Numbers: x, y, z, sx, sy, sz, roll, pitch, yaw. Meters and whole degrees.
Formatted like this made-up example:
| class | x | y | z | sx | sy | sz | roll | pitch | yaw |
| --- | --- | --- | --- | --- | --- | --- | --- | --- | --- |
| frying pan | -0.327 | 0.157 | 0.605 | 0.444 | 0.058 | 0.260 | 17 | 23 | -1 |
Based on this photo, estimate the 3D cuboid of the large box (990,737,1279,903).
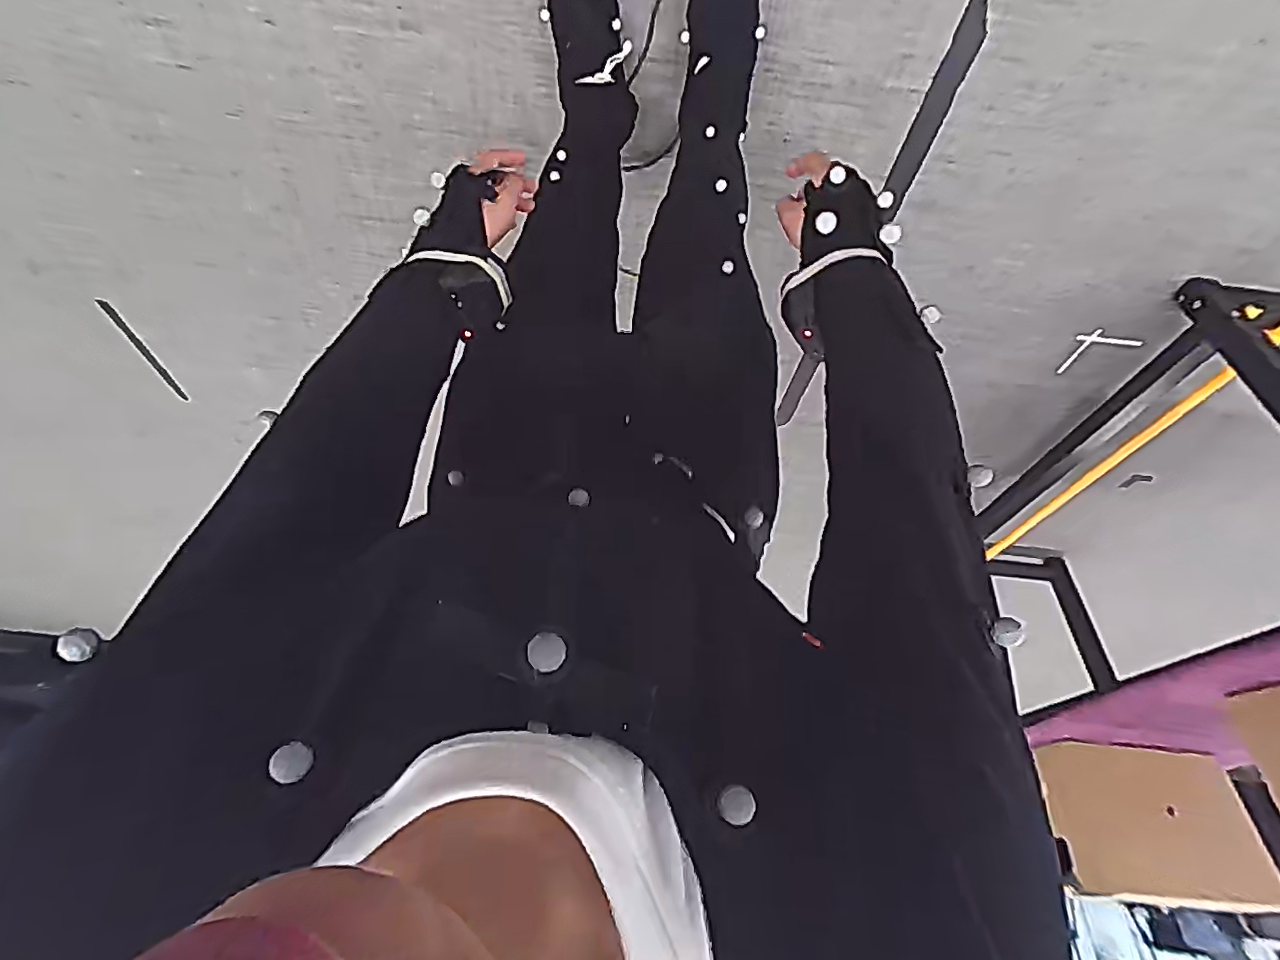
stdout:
| class | x | y | z | sx | sy | sz | roll | pitch | yaw |
| --- | --- | --- | --- | --- | --- | --- | --- | --- | --- |
| large box | 1.215 | 0.862 | 1.377 | 0.408 | 0.320 | 0.320 | 6 | 145 | -2 |
